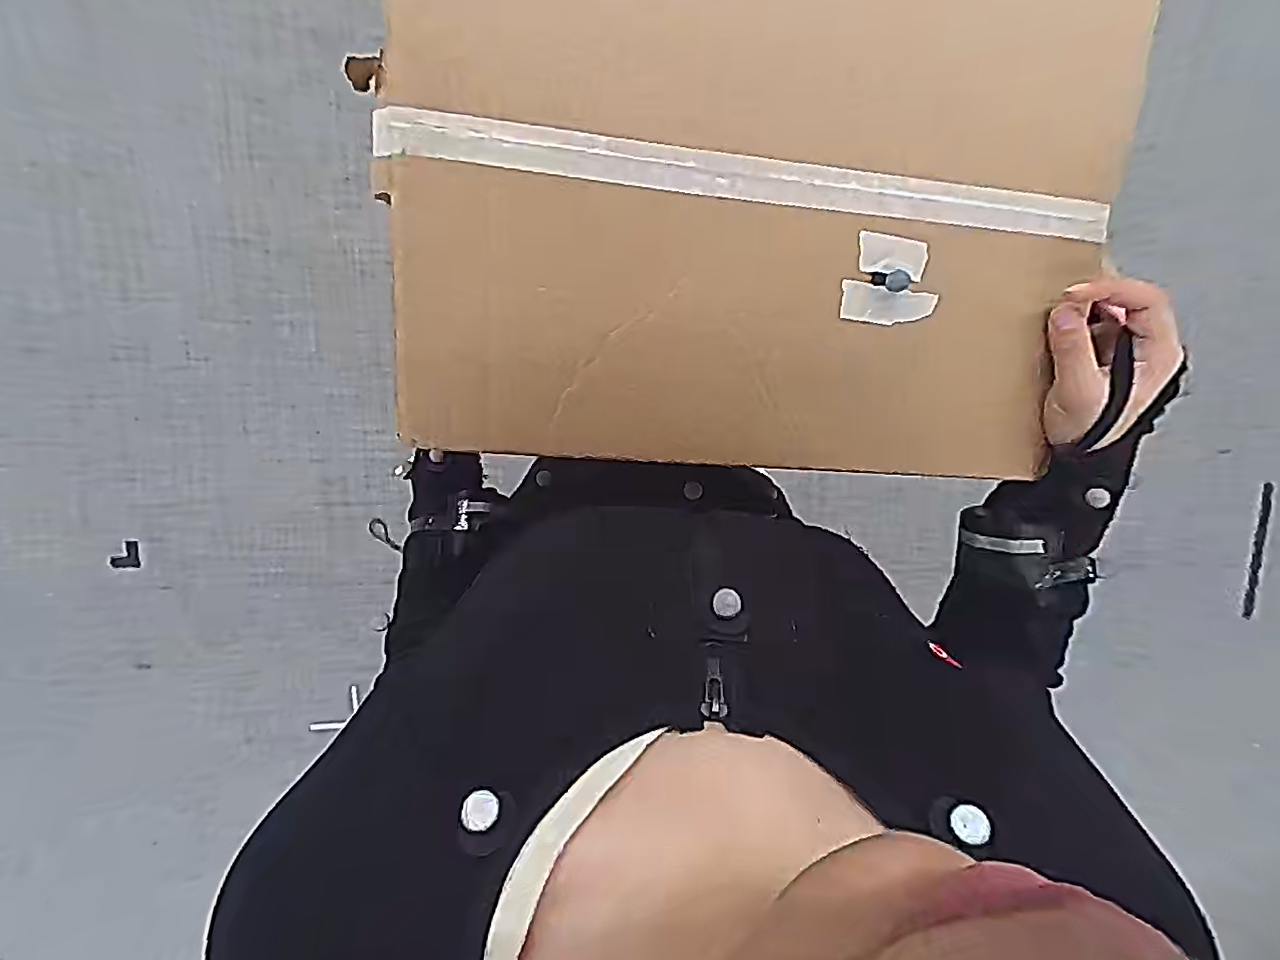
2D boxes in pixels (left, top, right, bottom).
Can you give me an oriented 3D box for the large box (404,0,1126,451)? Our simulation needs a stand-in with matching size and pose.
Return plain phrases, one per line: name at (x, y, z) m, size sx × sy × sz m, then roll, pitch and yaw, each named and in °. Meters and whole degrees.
large box at (0.052, -0.204, 0.445) m, size 0.408 × 0.320 × 0.320 m, roll 2°, pitch 103°, yaw -10°
